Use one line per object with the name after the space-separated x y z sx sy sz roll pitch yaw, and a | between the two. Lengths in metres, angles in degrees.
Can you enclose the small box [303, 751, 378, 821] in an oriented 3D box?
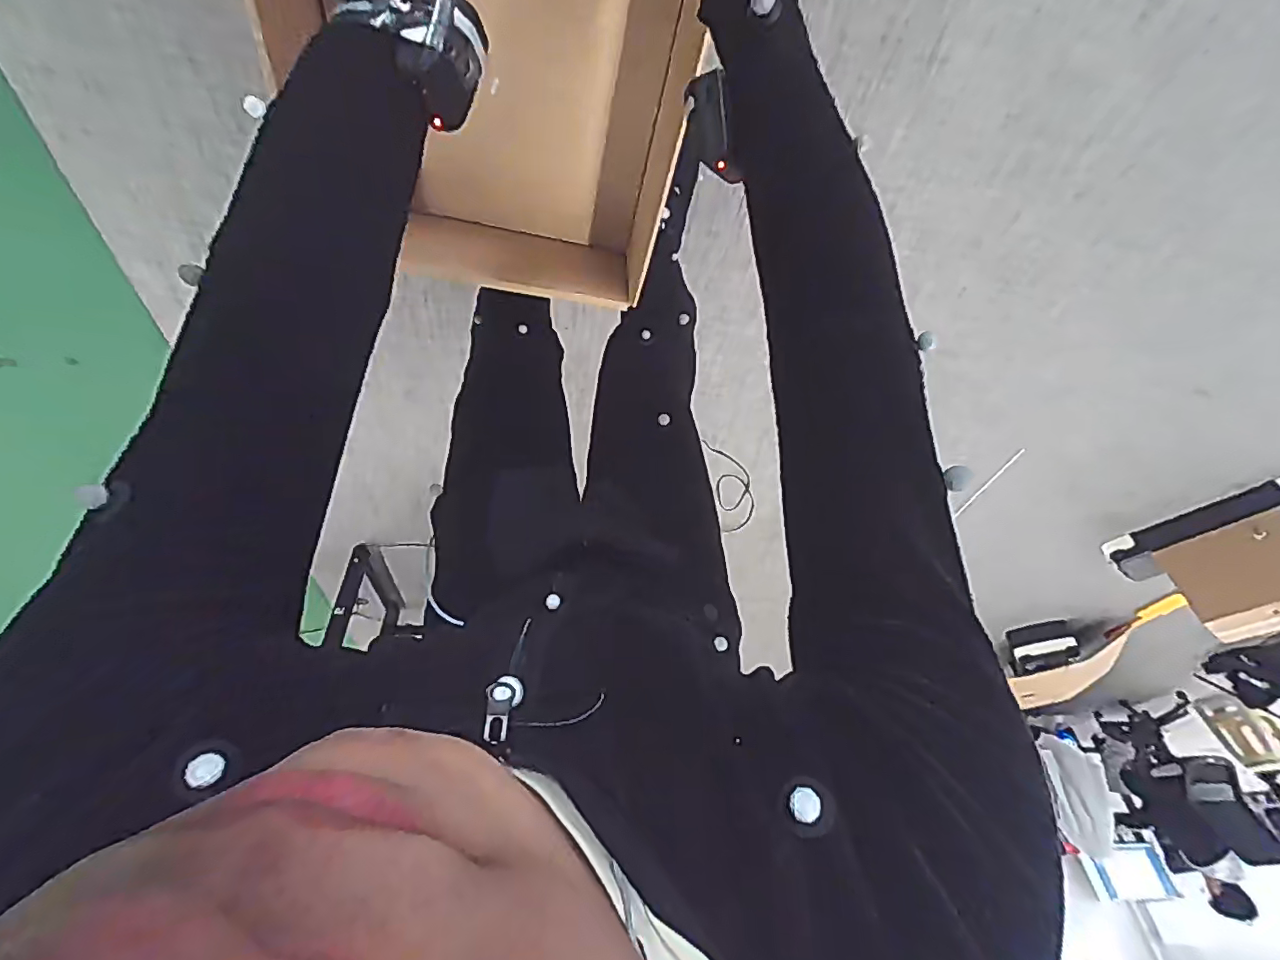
-0.922 0.944 1.671 0.168 0.176 0.179 15 140 -24 | small box
